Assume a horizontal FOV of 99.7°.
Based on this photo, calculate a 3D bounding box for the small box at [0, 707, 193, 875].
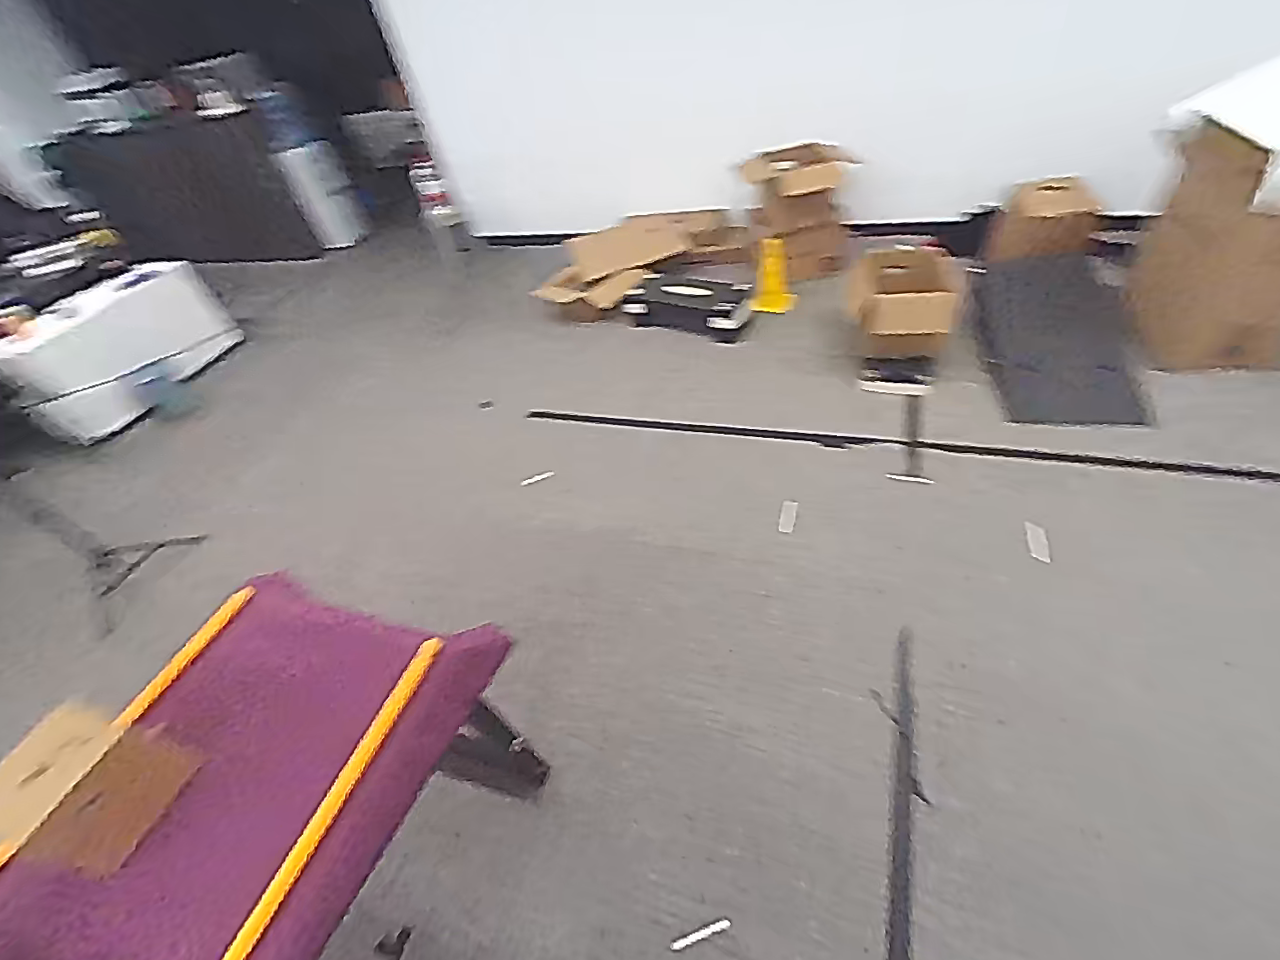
[{"bbox_3d":[-0.891,0.500,0.866,0.168,0.176,0.179,9,49,18],"label":"small box"}]
